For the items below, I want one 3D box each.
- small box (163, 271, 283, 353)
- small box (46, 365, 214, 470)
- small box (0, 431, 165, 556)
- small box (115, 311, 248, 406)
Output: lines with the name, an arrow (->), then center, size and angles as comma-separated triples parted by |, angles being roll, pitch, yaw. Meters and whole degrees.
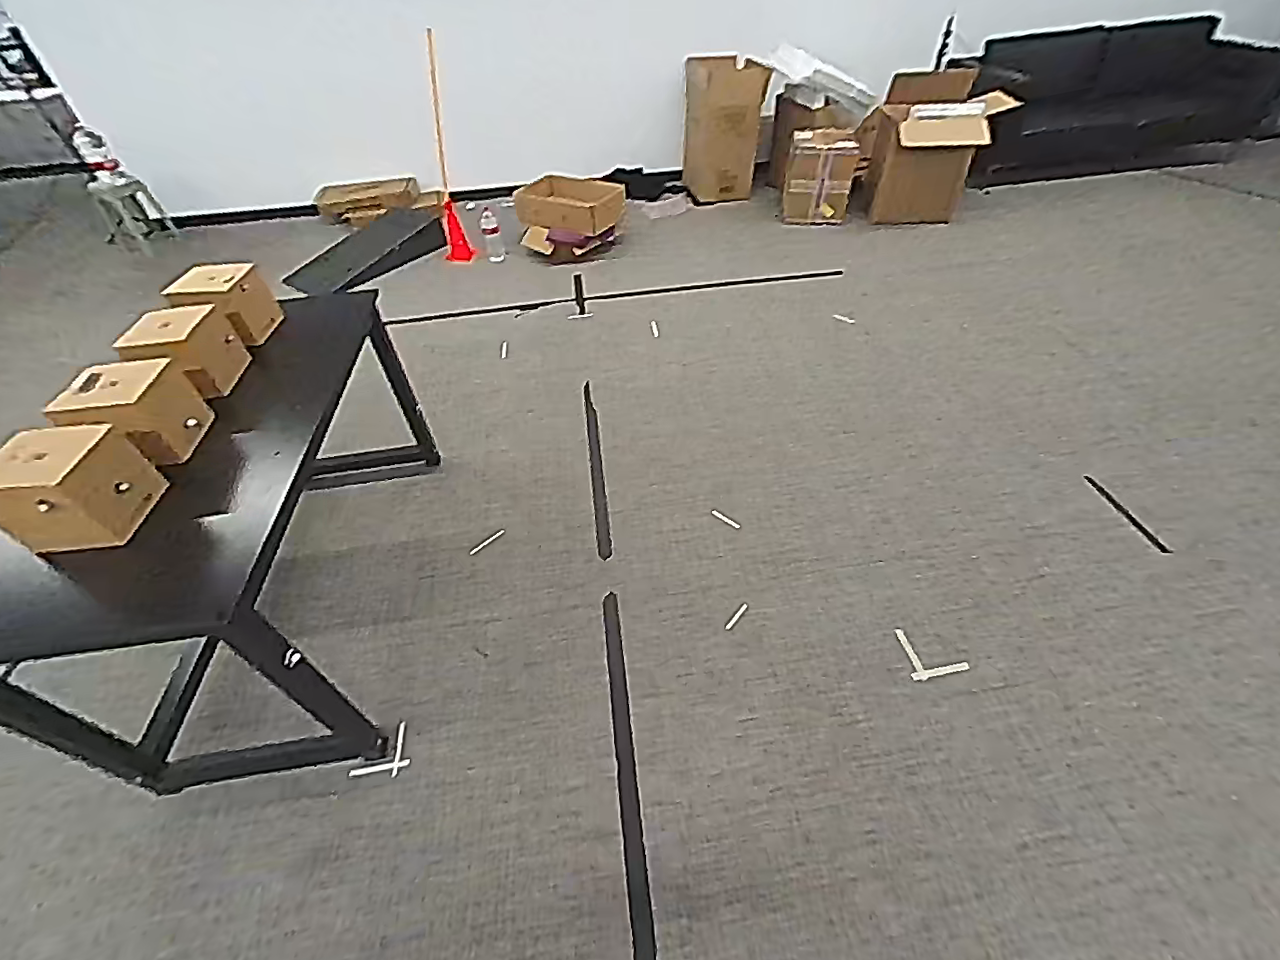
small box -> -1.169, -0.471, 1.531 | 0.179, 0.176, 0.168 | -4, 46, 1
small box -> -1.101, -0.130, 1.187 | 0.179, 0.176, 0.168 | -7, 45, -5
small box -> -1.076, 0.028, 1.029 | 0.179, 0.176, 0.168 | -6, 45, -1
small box -> -1.137, -0.301, 1.363 | 0.168, 0.176, 0.179 | -9, 46, -3
